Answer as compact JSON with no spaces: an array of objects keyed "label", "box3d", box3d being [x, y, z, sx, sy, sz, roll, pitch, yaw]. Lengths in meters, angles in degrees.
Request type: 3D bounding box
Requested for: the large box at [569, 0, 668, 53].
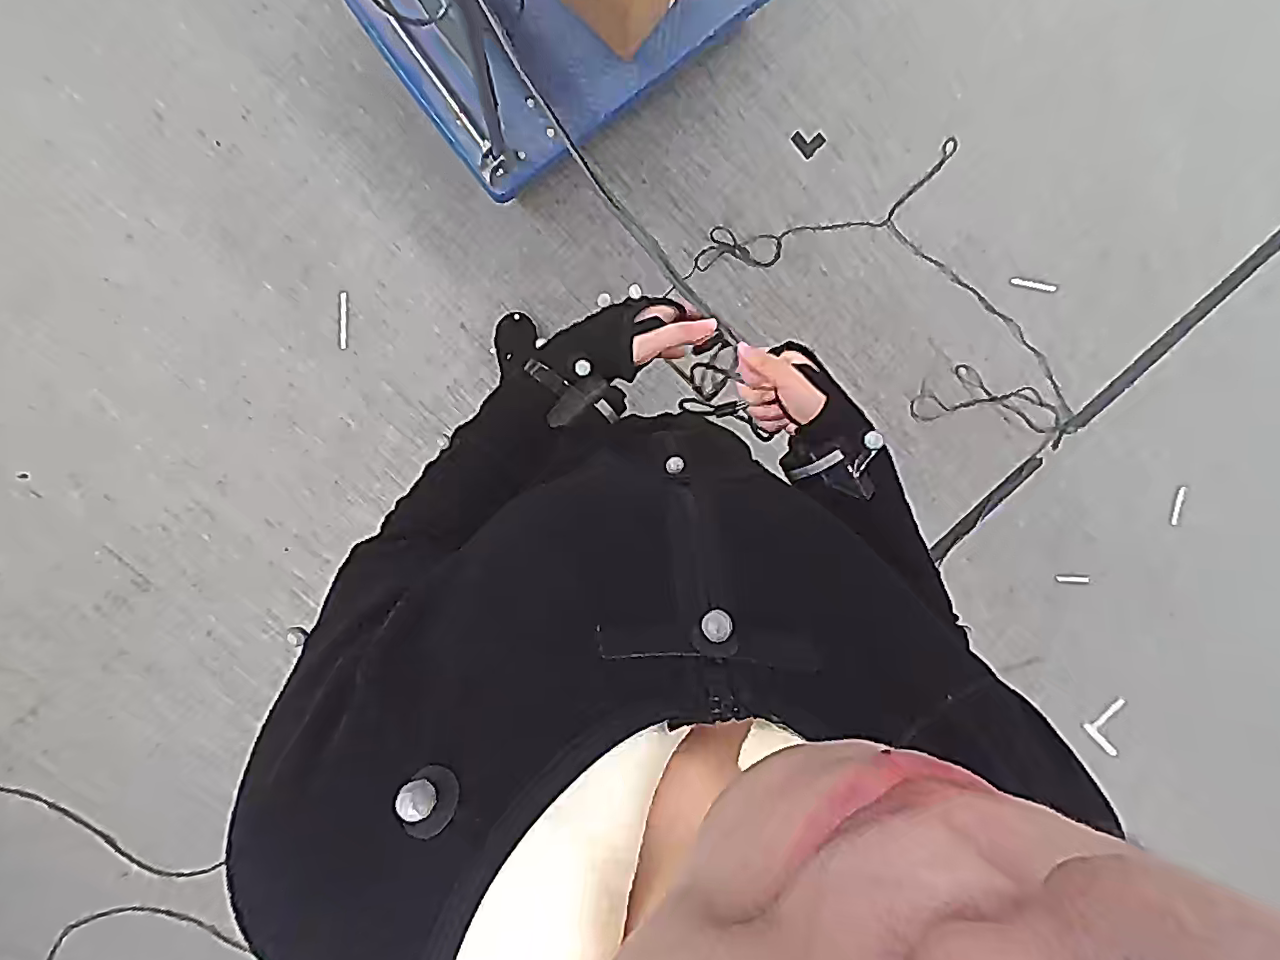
[{"label":"large box","box3d":[-0.071,-1.115,0.963,0.408,0.320,0.320,38,95,-12]}]
